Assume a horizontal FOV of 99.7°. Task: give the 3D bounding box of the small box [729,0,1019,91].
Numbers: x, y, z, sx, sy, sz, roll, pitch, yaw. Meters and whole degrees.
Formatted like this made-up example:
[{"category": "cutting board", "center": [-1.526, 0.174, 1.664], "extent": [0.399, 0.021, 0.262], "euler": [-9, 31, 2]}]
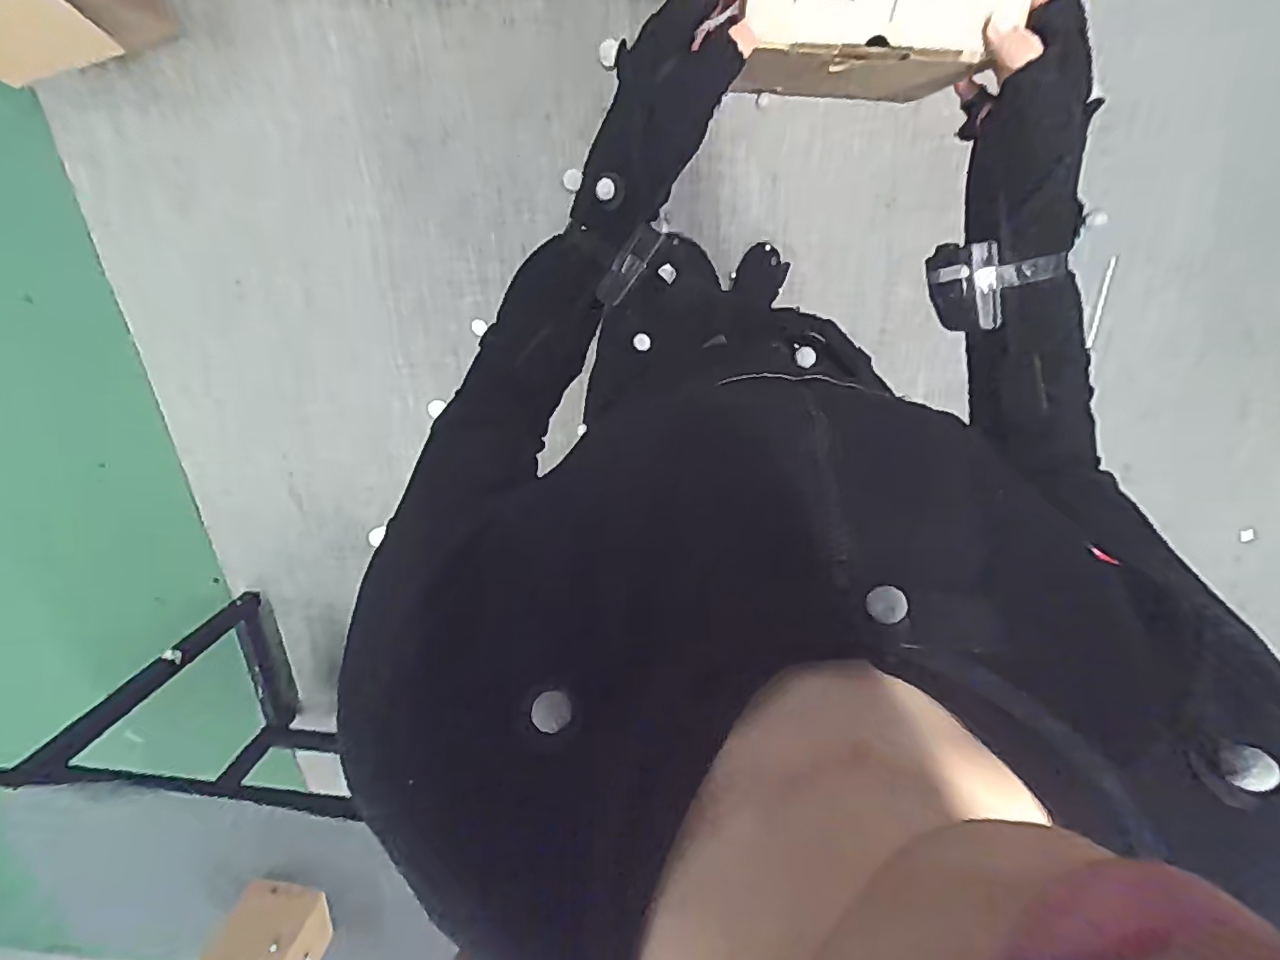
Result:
[{"category": "small box", "center": [0.152, -0.380, 0.362], "extent": [0.168, 0.176, 0.179], "euler": [4, 116, 4]}]
